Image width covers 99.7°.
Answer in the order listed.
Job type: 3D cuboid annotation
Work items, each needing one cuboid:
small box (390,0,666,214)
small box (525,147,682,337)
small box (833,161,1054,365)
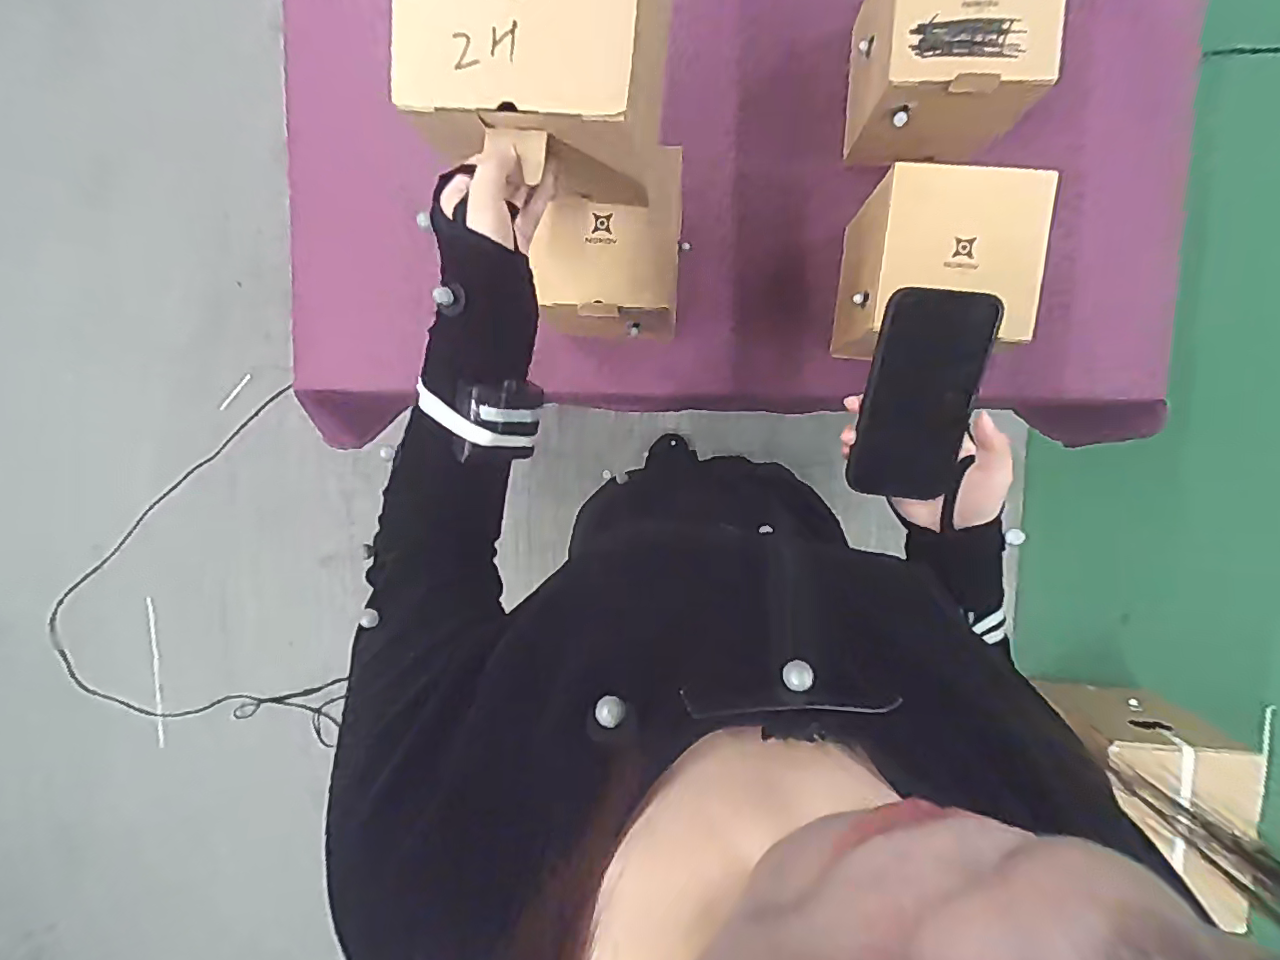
[{"bbox_3d":[-0.073,-0.337,0.431,0.168,0.176,0.179,7,99,7],"label":"small box"},{"bbox_3d":[-0.036,-0.281,0.671,0.168,0.176,0.179,4,94,4],"label":"small box"},{"bbox_3d":[0.340,-0.243,0.642,0.168,0.176,0.179,6,95,4],"label":"small box"}]
